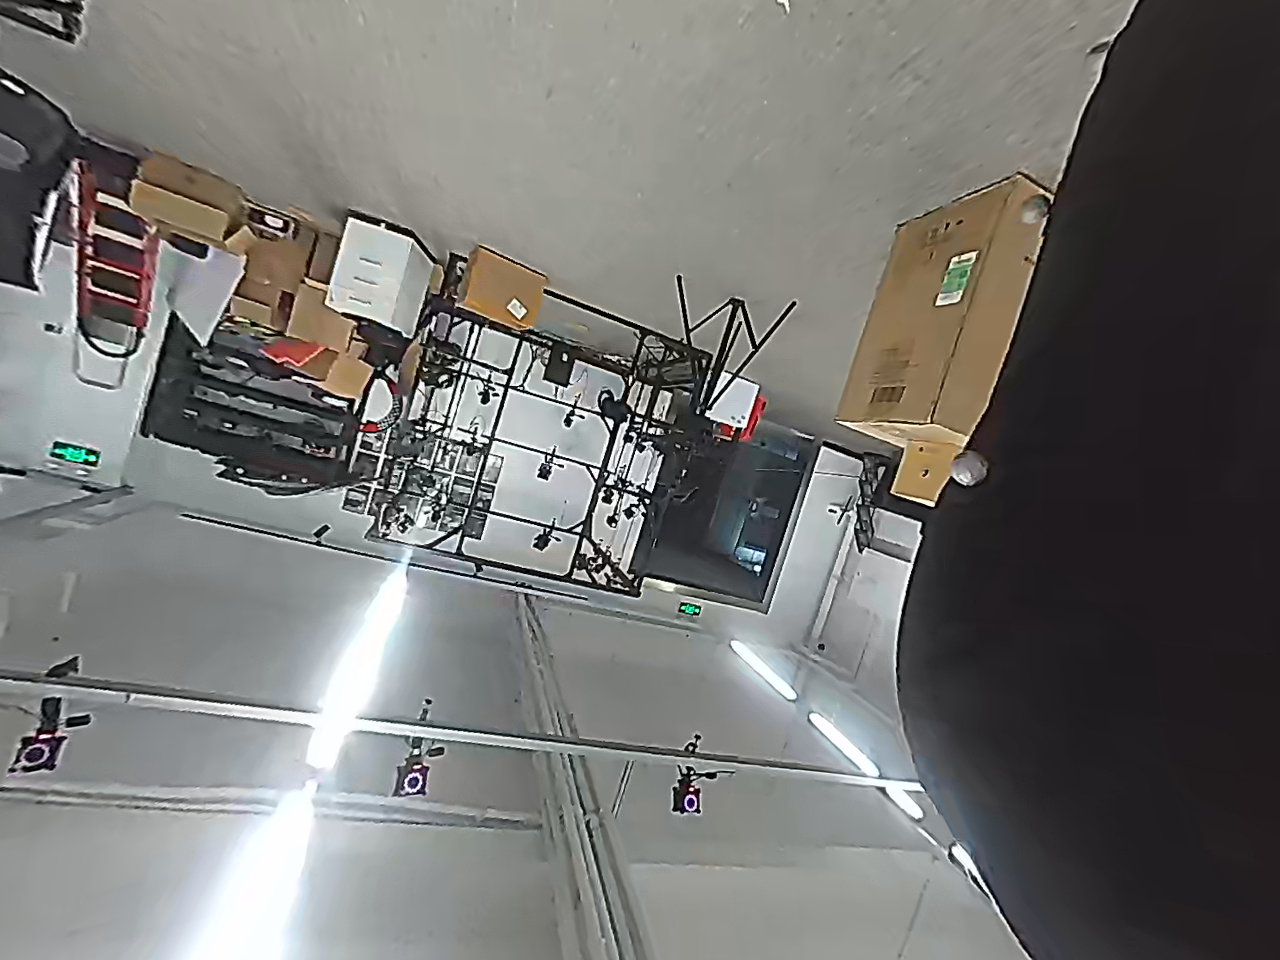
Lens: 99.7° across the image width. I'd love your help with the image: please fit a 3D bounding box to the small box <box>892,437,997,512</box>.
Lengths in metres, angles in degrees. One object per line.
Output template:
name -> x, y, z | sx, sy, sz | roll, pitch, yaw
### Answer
small box -> 0.864, -0.020, 1.538 | 0.179, 0.176, 0.168 | 15, -177, -18
